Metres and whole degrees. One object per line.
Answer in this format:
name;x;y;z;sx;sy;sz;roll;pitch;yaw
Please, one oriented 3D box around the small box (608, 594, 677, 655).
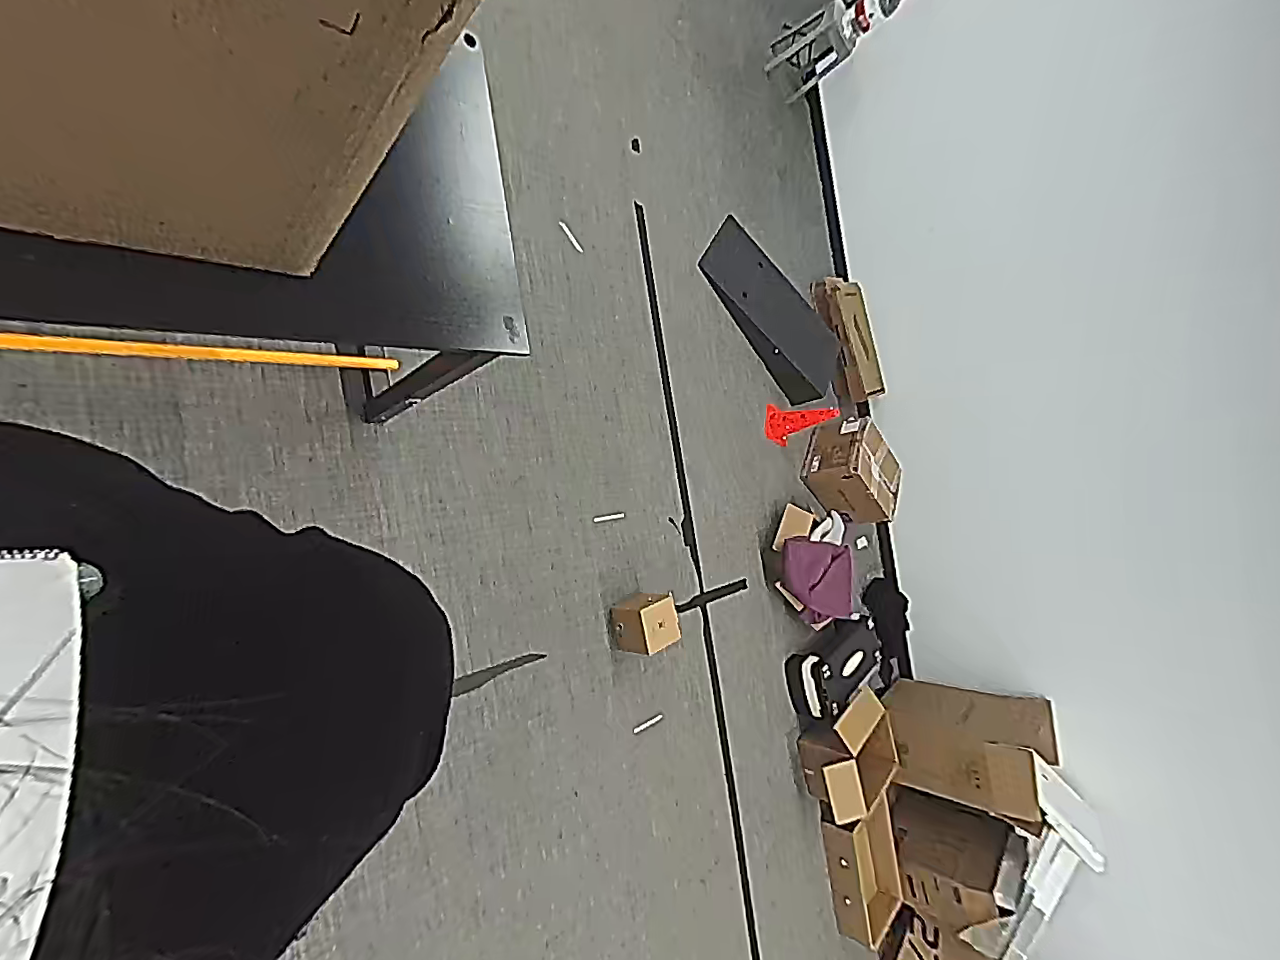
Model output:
small box;0.007;0.524;1.993;0.179;0.176;0.168;-14;93;-43
